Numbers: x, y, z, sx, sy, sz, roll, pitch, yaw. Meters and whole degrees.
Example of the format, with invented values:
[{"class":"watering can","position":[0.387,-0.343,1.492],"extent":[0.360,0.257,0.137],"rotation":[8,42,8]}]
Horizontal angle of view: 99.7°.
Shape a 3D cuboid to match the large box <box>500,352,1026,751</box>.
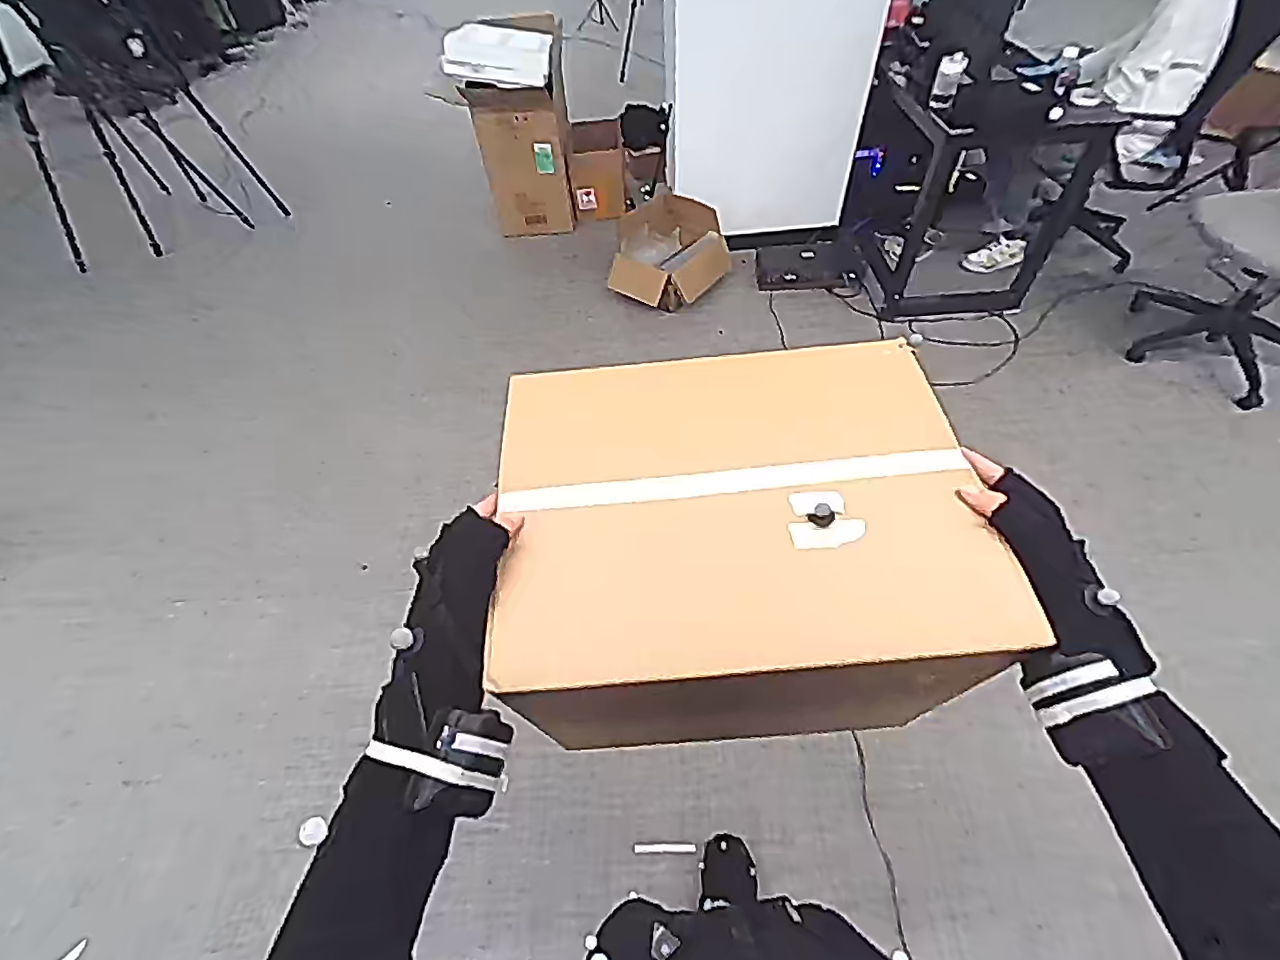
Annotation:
[{"class":"large box","position":[0.088,0.094,0.606],"extent":[0.408,0.320,0.320],"rotation":[-6,56,1]}]
